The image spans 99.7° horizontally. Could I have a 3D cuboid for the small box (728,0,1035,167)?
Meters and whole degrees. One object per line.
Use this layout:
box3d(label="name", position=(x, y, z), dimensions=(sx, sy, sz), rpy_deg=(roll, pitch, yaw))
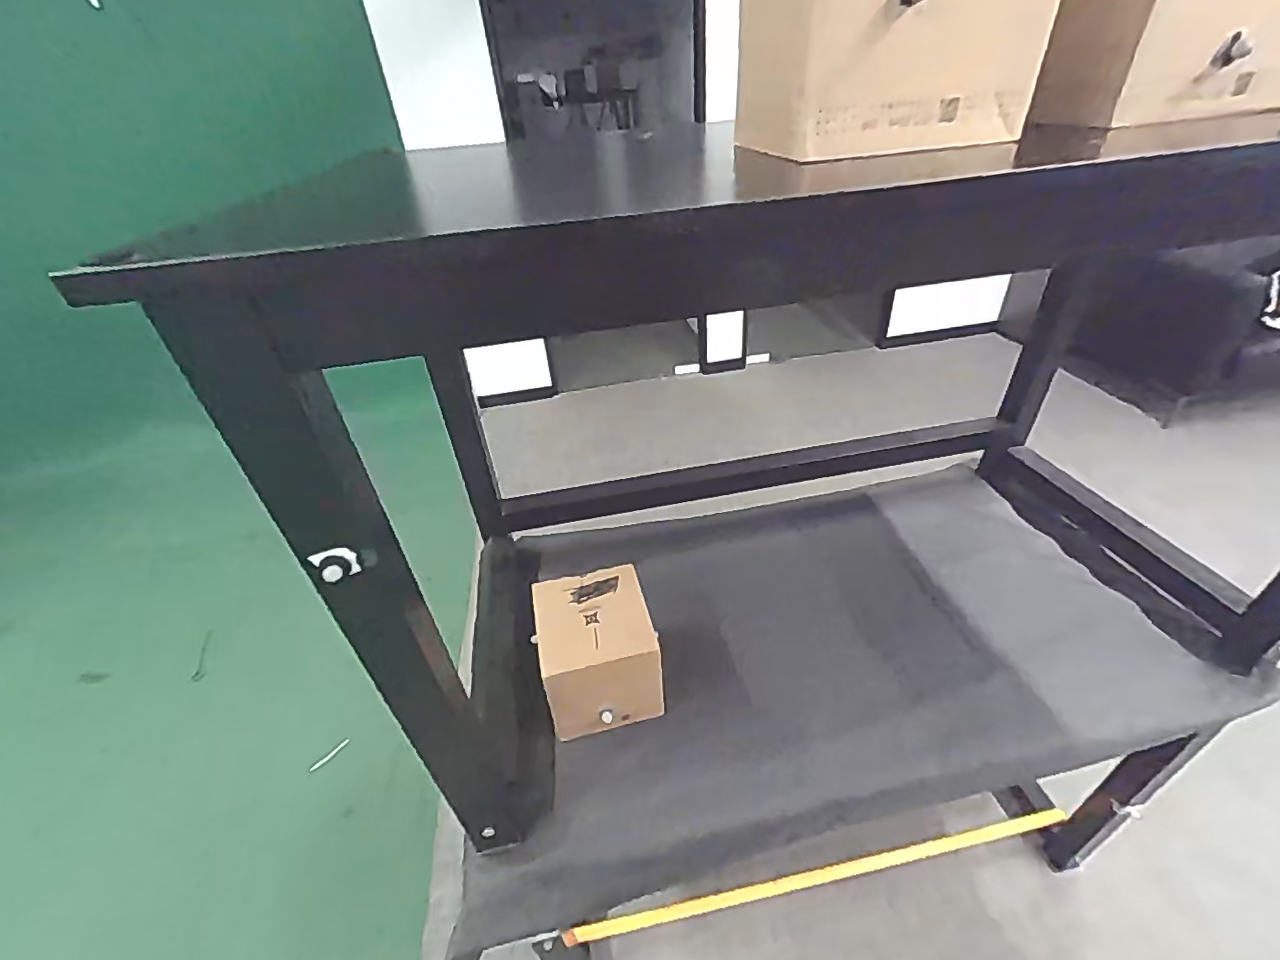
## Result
box3d(label="small box", position=(0.168, -0.342, 0.407), dimensions=(0.168, 0.176, 0.179), rpy_deg=(-8, 35, -4))

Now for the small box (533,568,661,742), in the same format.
box3d(label="small box", position=(-0.068, 0.268, 0.840), dimensions=(0.168, 0.176, 0.179), rpy_deg=(-11, 36, -8))
